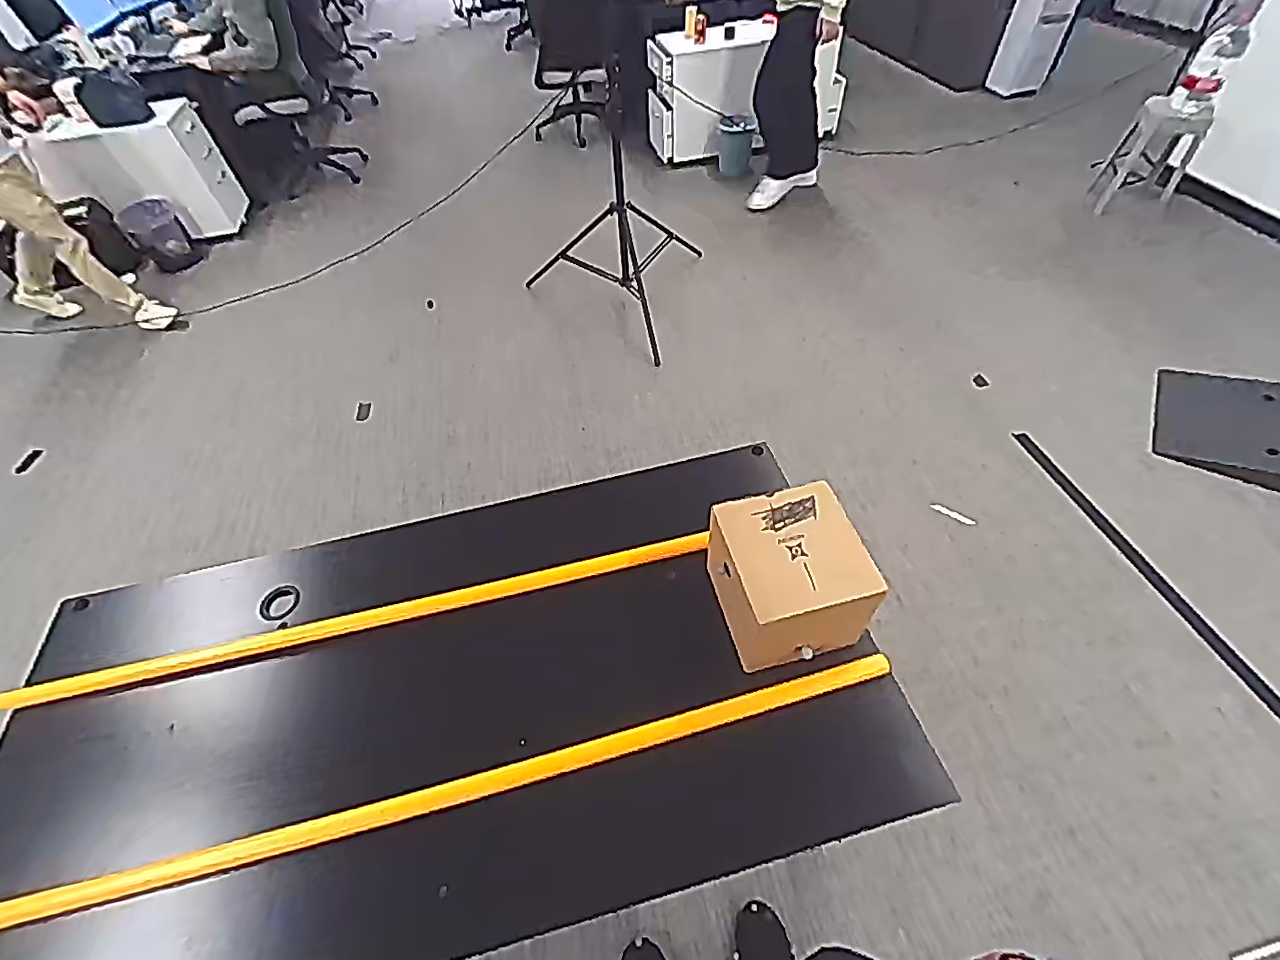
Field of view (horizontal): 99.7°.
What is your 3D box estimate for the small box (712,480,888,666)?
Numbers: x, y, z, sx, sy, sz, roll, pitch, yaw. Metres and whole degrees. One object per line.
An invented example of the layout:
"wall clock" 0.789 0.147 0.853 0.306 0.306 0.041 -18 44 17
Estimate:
"small box" 0.203 0.130 0.747 0.168 0.176 0.179 -13 52 -5
